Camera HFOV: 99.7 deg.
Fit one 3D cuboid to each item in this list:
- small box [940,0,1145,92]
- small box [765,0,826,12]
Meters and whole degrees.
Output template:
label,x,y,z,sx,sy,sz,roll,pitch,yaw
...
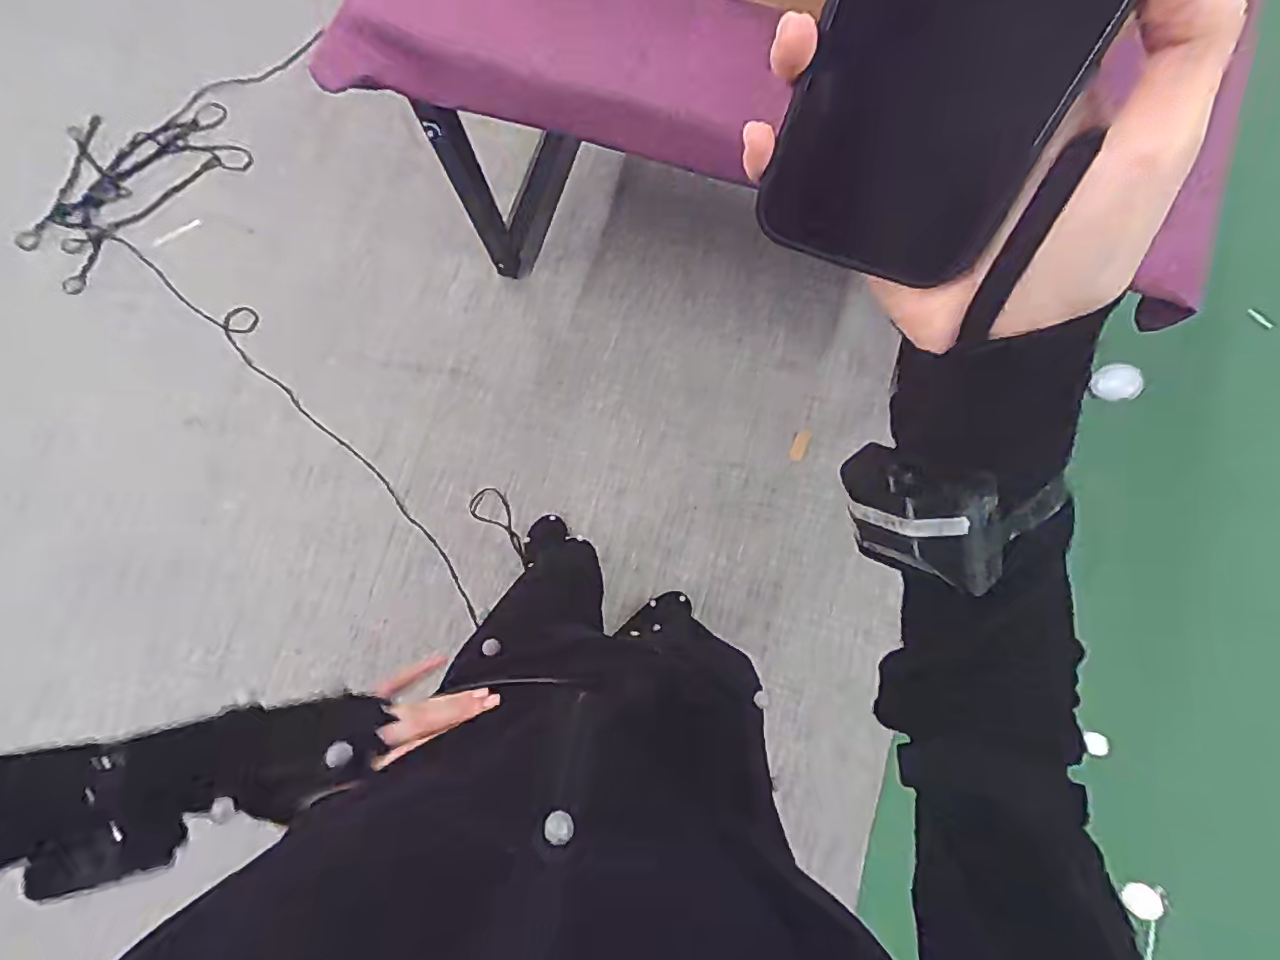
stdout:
label,x,y,z,sx,sy,sz,roll,pitch,yaw
small box,0.517,-0.629,0.664,0.179,0.176,0.168,26,82,6
small box,0.201,-0.755,0.688,0.179,0.176,0.168,19,82,4
